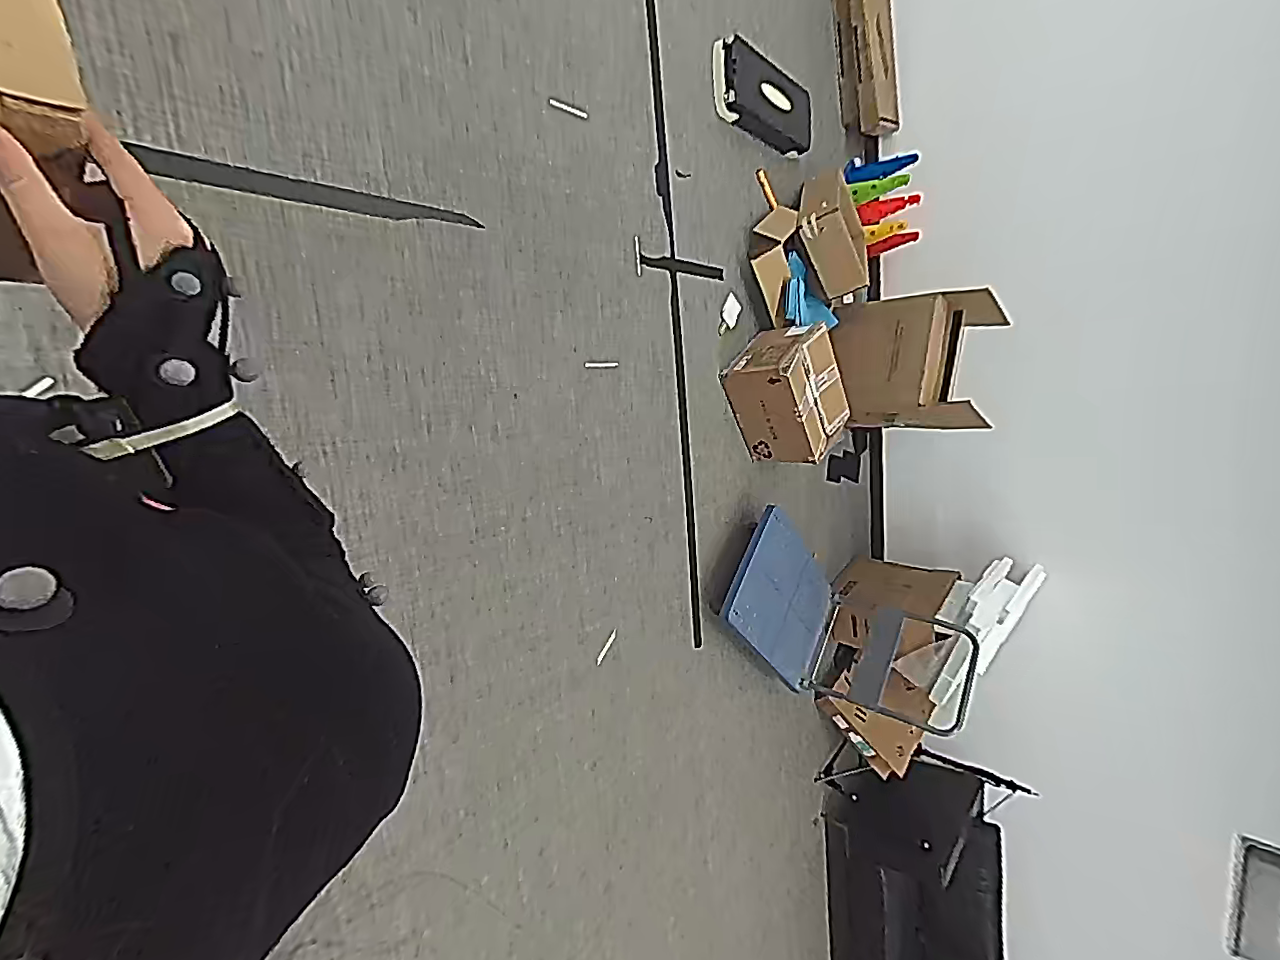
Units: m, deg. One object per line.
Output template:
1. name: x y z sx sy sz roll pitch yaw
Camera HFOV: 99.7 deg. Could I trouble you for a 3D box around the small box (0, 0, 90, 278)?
1. small box: -0.412 -0.227 0.272 0.168 0.176 0.179 -14 84 -51
